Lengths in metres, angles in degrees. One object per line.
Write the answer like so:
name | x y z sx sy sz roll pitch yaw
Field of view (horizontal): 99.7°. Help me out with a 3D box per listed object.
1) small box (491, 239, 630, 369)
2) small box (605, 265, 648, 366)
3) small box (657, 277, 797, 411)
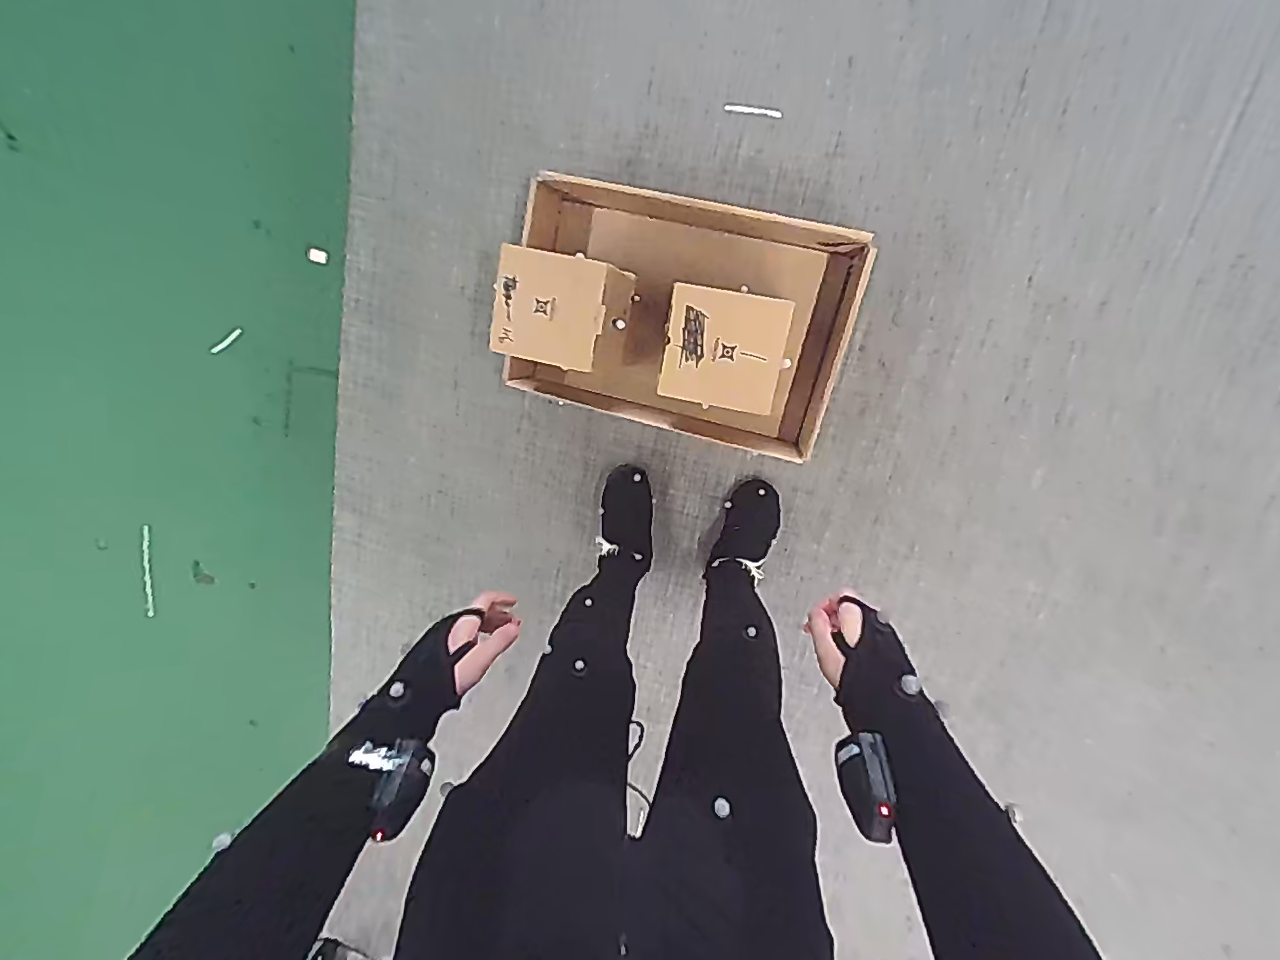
small box | -0.124 -0.288 0.904 0.179 0.176 0.168 14 105 7
small box | -0.092 -0.329 1.059 0.168 0.176 0.179 16 105 8
small box | 0.139 -0.216 0.861 0.179 0.176 0.168 13 107 9
